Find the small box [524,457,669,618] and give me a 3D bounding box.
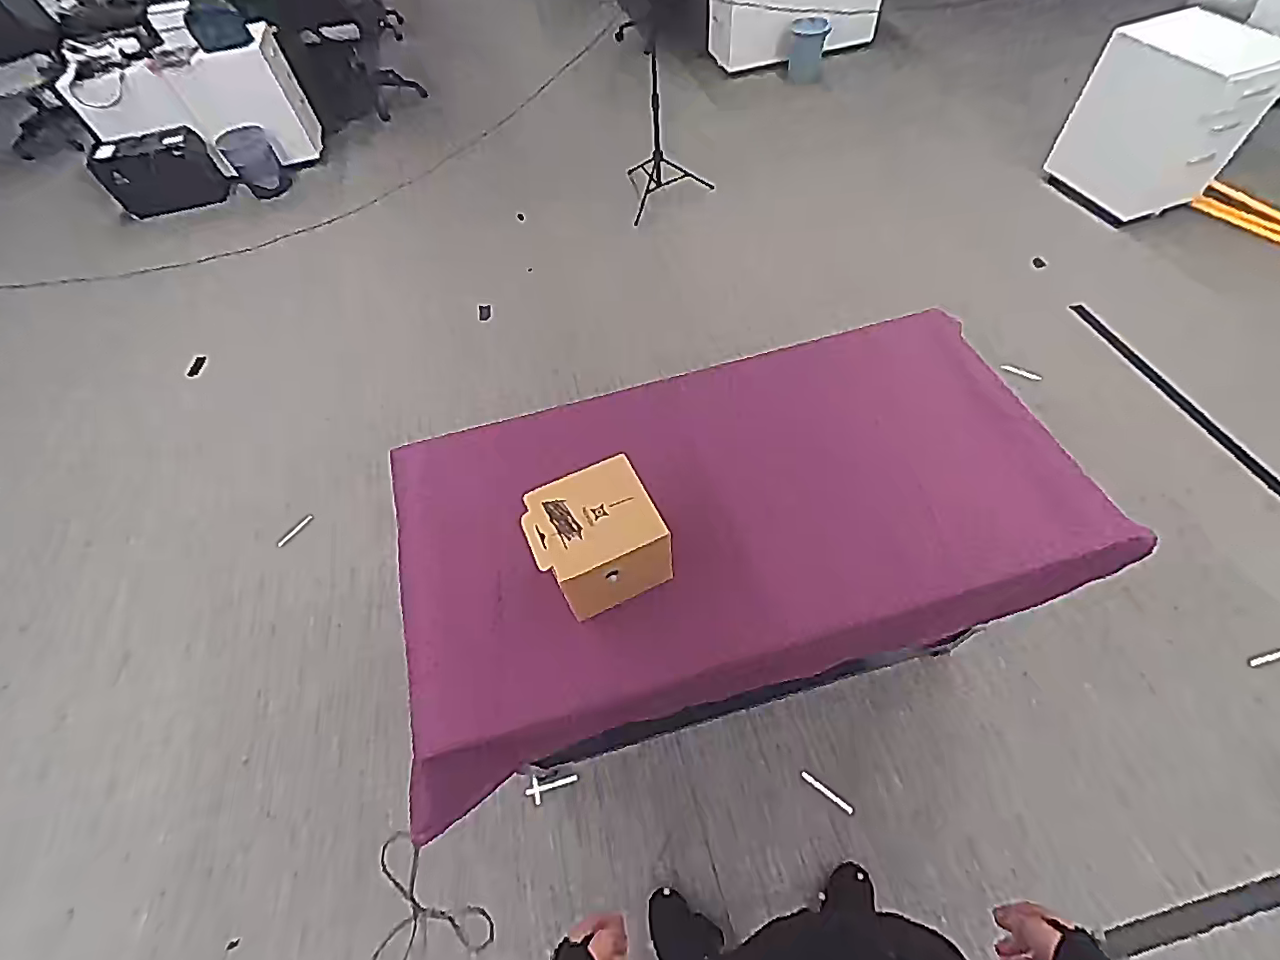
[{"bbox_3d":[-0.064,0.099,0.877,0.179,0.176,0.168,-23,58,-11],"label":"small box"}]
